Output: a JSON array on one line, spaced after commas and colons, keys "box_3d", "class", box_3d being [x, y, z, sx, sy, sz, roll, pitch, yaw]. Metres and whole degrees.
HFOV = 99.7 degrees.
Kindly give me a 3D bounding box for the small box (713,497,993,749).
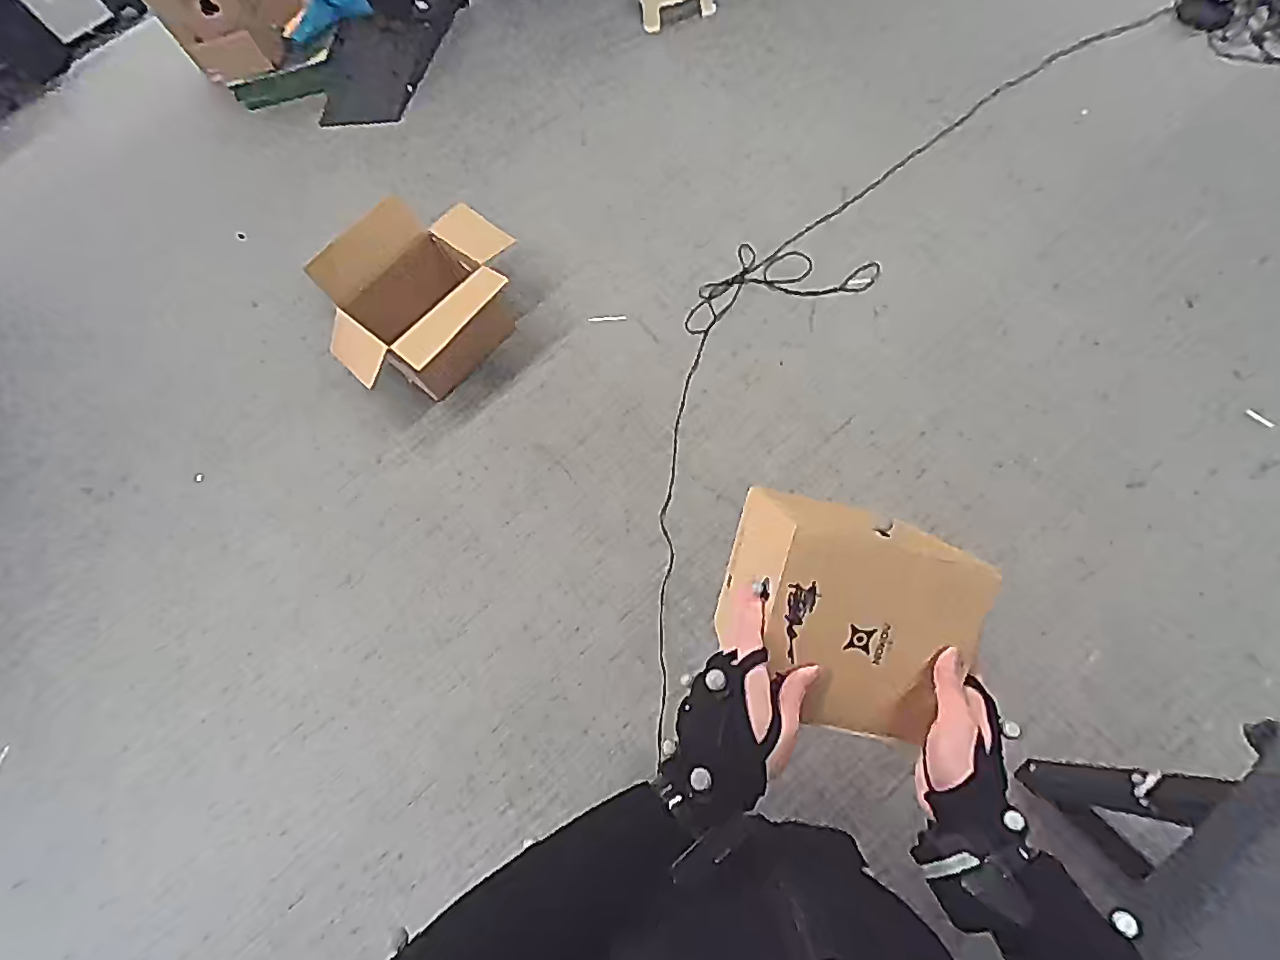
[{"box_3d": [0.184, 0.122, 0.525, 0.179, 0.176, 0.168, 13, 98, -3], "class": "small box"}]
